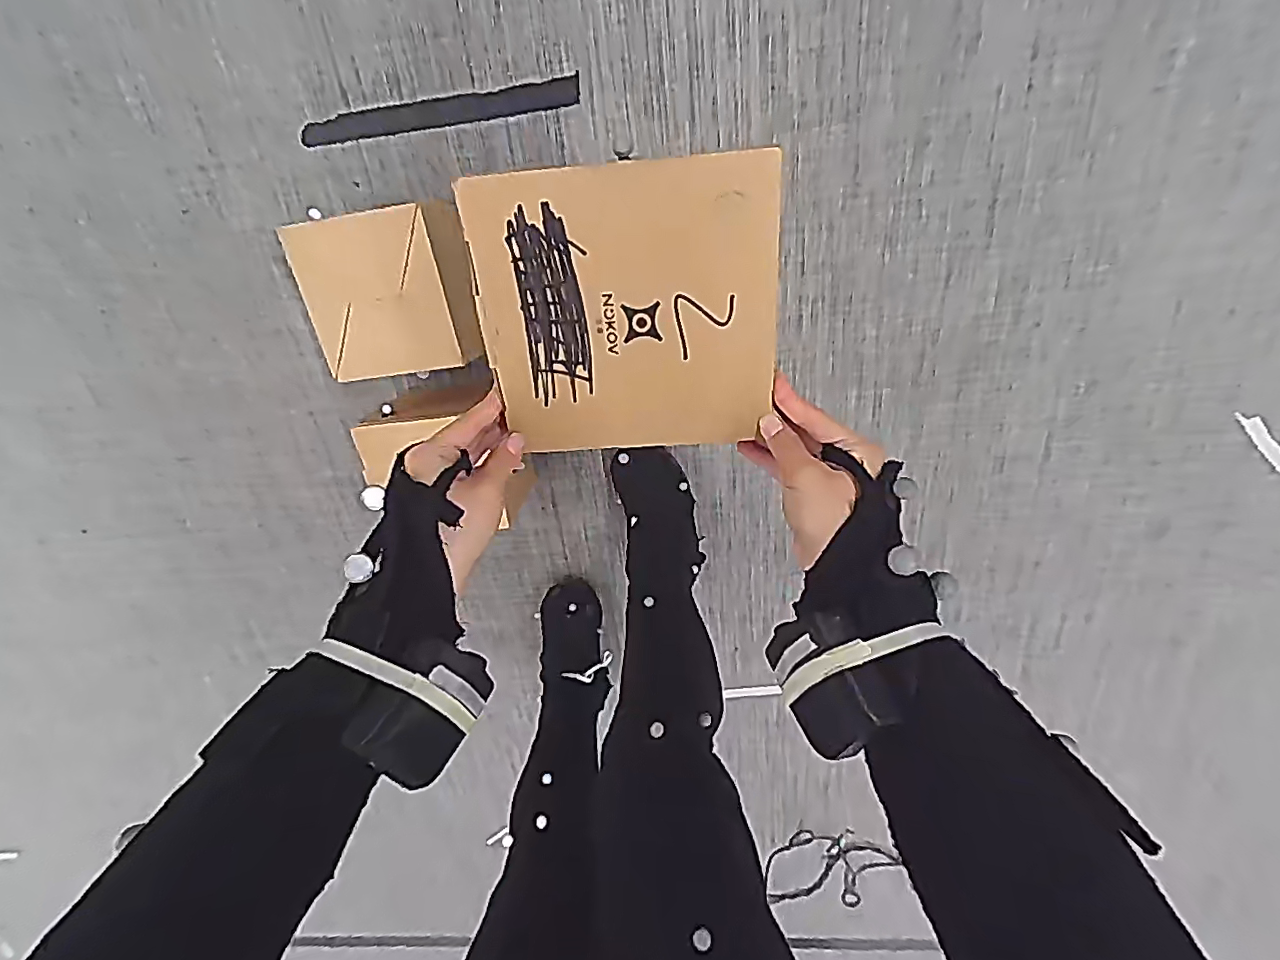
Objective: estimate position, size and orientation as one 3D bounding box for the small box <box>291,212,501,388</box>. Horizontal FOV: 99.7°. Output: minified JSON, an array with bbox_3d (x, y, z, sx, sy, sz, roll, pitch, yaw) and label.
[{"bbox_3d":[-0.295,-0.231,0.682,0.168,0.176,0.179,-6,114,6],"label":"small box"}]

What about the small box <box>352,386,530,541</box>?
[{"bbox_3d":[-0.266,-0.031,0.778,0.179,0.176,0.168,-5,114,6],"label":"small box"}]
